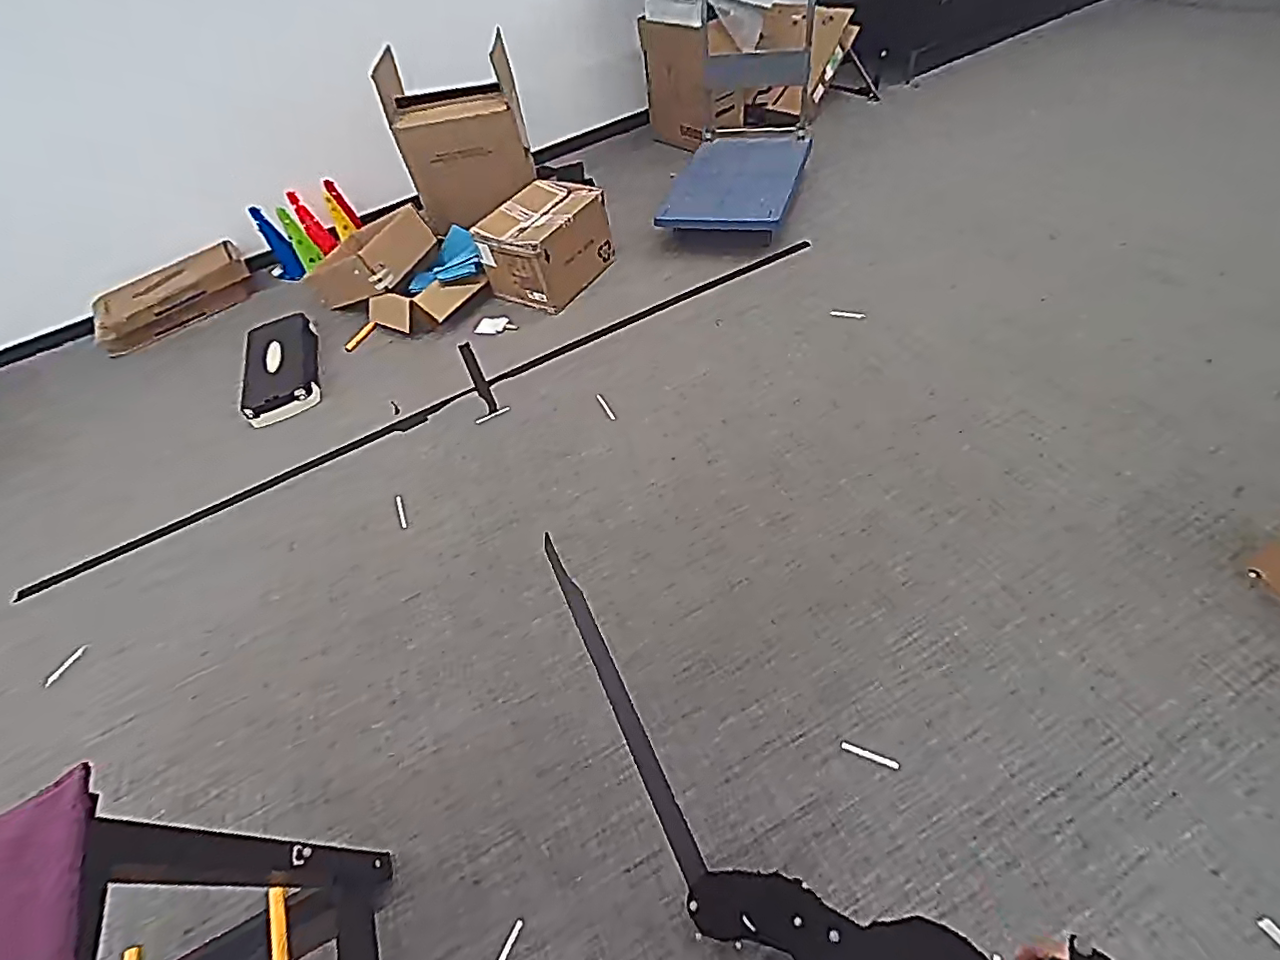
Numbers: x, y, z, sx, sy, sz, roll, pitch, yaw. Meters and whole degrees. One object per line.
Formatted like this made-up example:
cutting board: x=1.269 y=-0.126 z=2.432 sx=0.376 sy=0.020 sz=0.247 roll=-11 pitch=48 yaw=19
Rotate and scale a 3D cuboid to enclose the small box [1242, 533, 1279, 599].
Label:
small box: x=1.524 y=0.183 z=1.203 sx=0.179 sy=0.176 sz=0.168 roll=-24 pitch=51 yaw=-9
